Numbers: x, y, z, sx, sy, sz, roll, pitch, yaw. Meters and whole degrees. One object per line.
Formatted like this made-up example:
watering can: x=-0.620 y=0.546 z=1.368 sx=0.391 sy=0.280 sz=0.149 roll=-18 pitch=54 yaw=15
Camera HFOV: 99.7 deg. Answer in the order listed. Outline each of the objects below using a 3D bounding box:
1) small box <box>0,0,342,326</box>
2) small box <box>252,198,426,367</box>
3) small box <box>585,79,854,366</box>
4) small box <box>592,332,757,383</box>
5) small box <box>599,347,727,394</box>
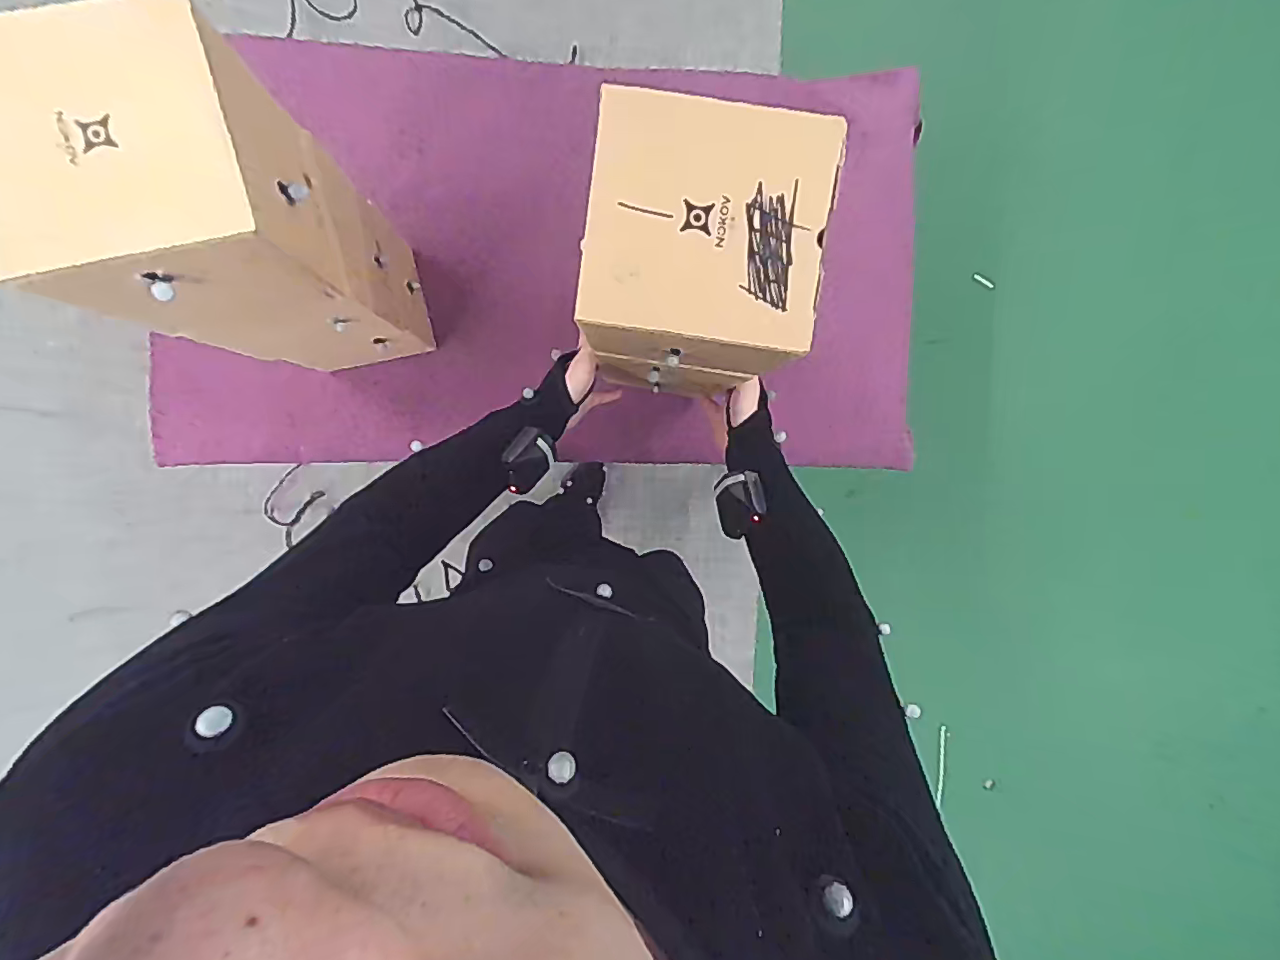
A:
small box: x=-0.368 y=-0.235 z=0.434 sx=0.179 sy=0.176 sz=0.168 roll=-15 pitch=96 yaw=-6
small box: x=-0.415 y=-0.264 z=0.756 sx=0.179 sy=0.176 sz=0.168 roll=-13 pitch=95 yaw=-6
small box: x=0.054 y=-0.197 z=0.468 sx=0.179 sy=0.176 sz=0.168 roll=8 pitch=95 yaw=-2
small box: x=0.048 y=-0.211 z=0.632 sx=0.179 sy=0.176 sz=0.168 roll=8 pitch=95 yaw=-2
small box: x=0.042 y=-0.224 z=0.795 sx=0.179 sy=0.176 sz=0.168 roll=10 pitch=95 yaw=-3
